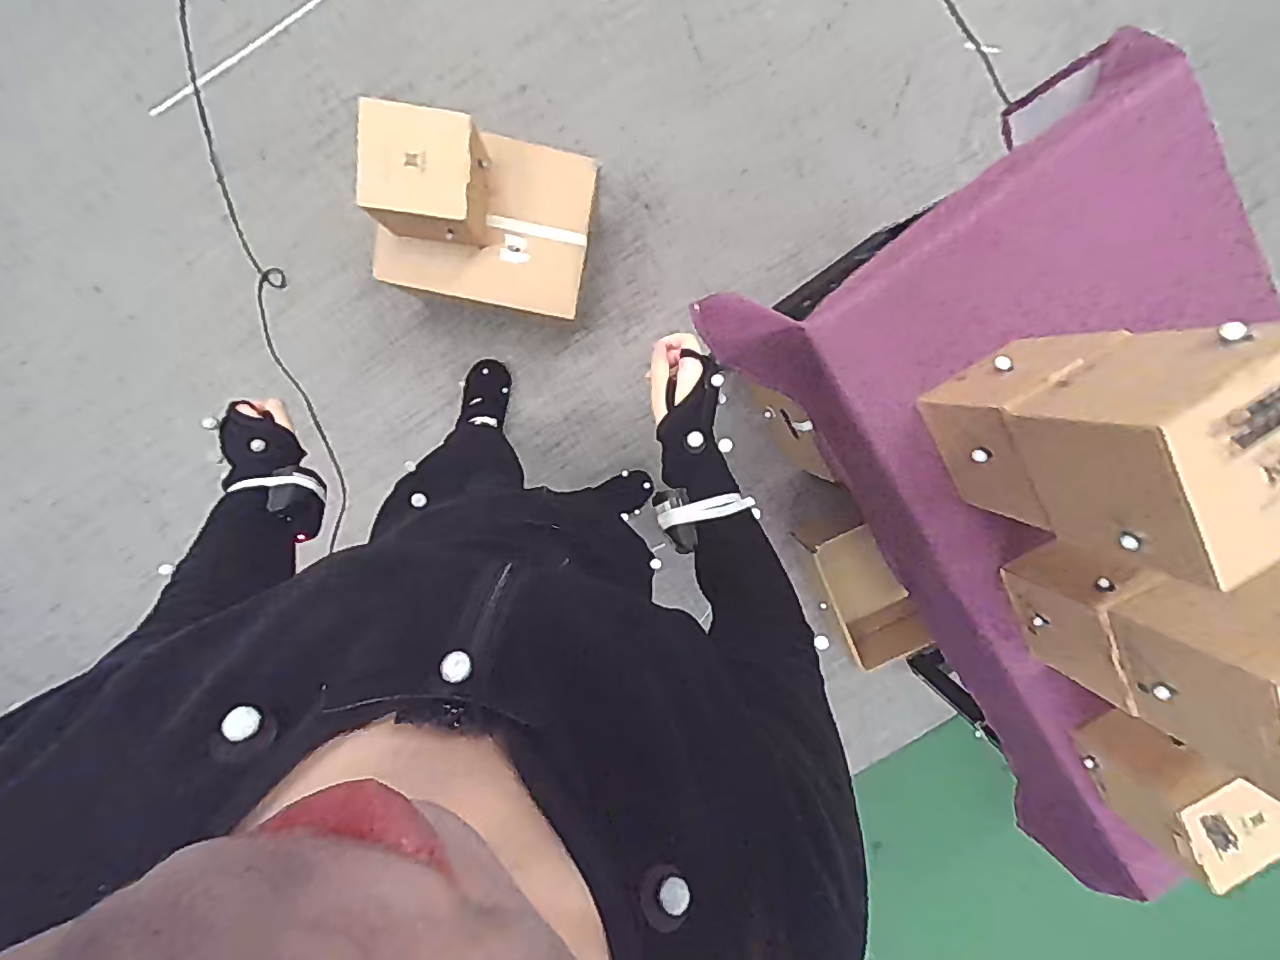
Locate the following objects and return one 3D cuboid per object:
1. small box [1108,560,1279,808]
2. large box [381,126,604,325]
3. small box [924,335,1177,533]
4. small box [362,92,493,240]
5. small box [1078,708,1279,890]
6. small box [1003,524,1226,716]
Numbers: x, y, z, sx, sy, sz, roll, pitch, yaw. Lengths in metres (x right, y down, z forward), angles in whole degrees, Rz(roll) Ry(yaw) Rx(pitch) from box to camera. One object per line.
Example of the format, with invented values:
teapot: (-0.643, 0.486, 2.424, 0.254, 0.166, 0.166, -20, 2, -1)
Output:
small box: (0.685, 0.212, 0.598, 0.179, 0.176, 0.168, -25, 102, 1)
large box: (-0.306, -0.548, 1.203, 0.408, 0.320, 0.320, 10, 101, -8)
small box: (0.507, -0.063, 0.694, 0.168, 0.176, 0.179, -31, 101, 2)
small box: (-0.362, -0.535, 0.949, 0.179, 0.176, 0.168, 6, 99, -6)
small box: (0.820, 0.455, 0.824, 0.179, 0.176, 0.168, -31, 102, 1)
small box: (0.664, 0.182, 0.758, 0.179, 0.176, 0.168, -26, 102, 1)
